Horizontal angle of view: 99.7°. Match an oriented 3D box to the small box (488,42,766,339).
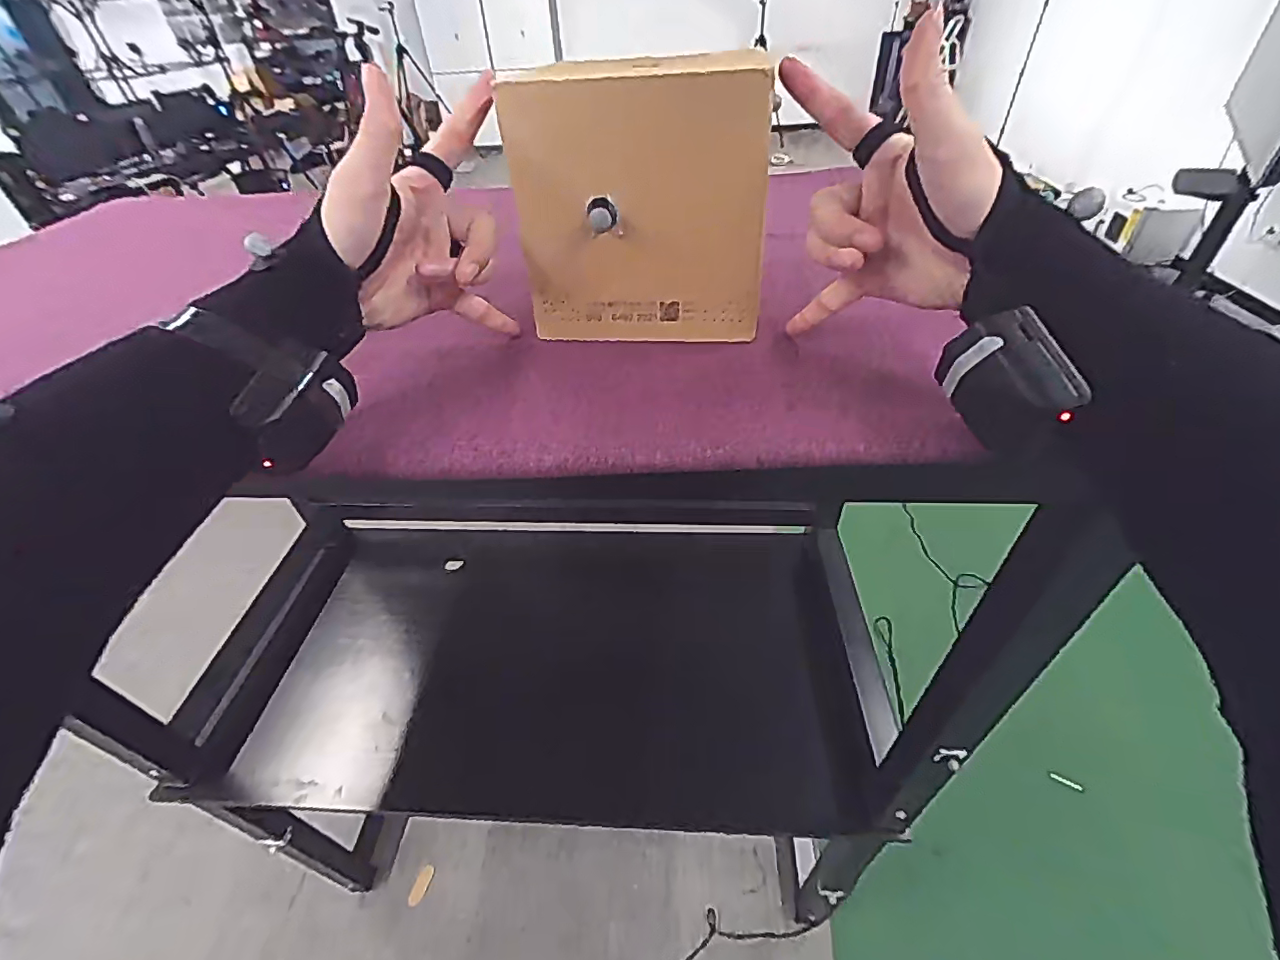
[{"bbox_3d":[0.007,-0.220,0.418,0.168,0.176,0.179,2,40,8],"label":"small box"}]
